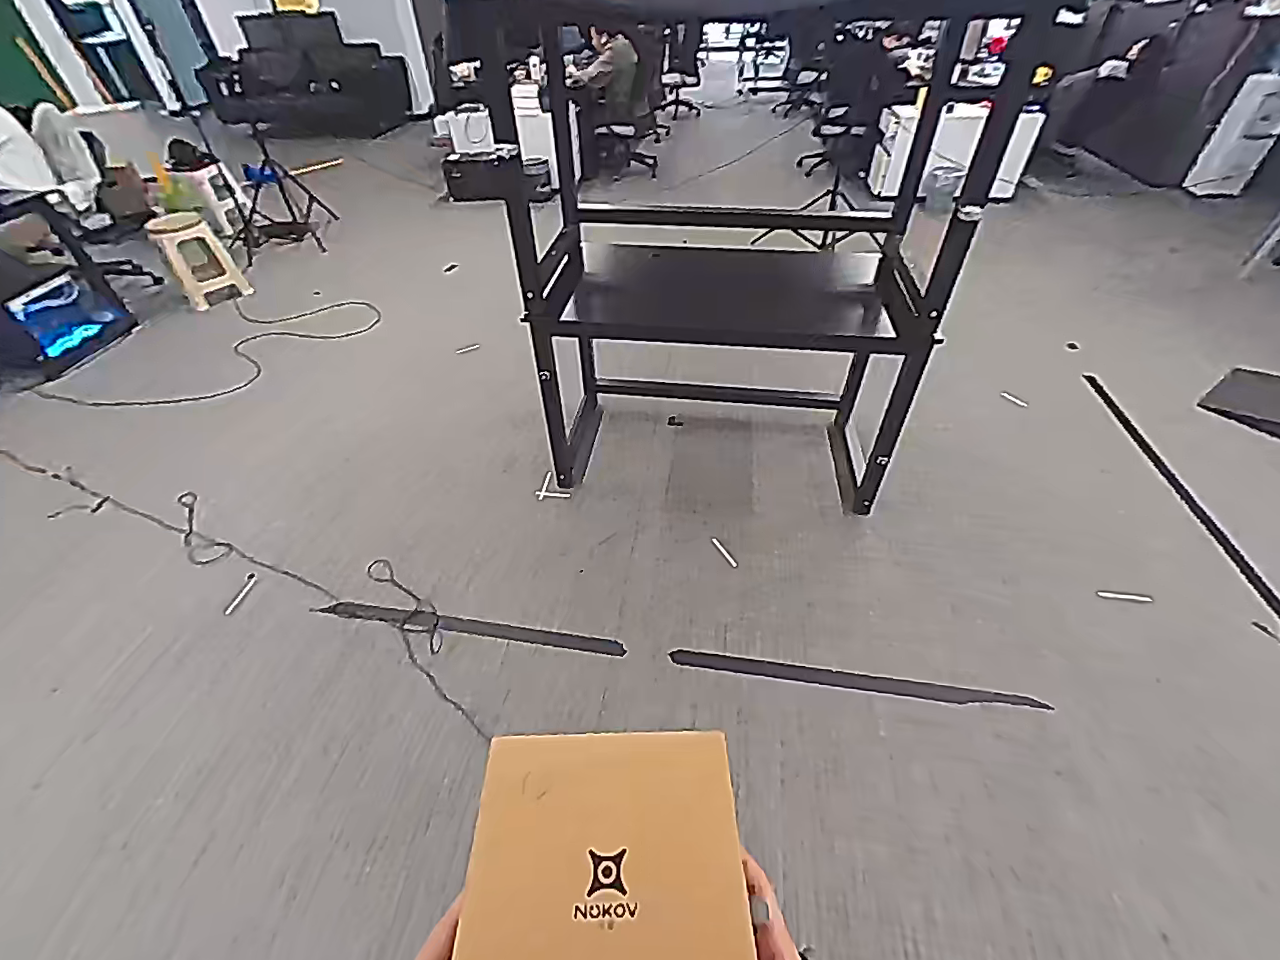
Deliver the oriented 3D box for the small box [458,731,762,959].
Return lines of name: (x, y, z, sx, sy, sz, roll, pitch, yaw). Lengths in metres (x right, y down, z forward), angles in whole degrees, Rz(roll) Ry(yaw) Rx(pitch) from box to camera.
small box: (-0.018, 0.296, 0.367, 0.168, 0.176, 0.179, -1, 40, -2)
